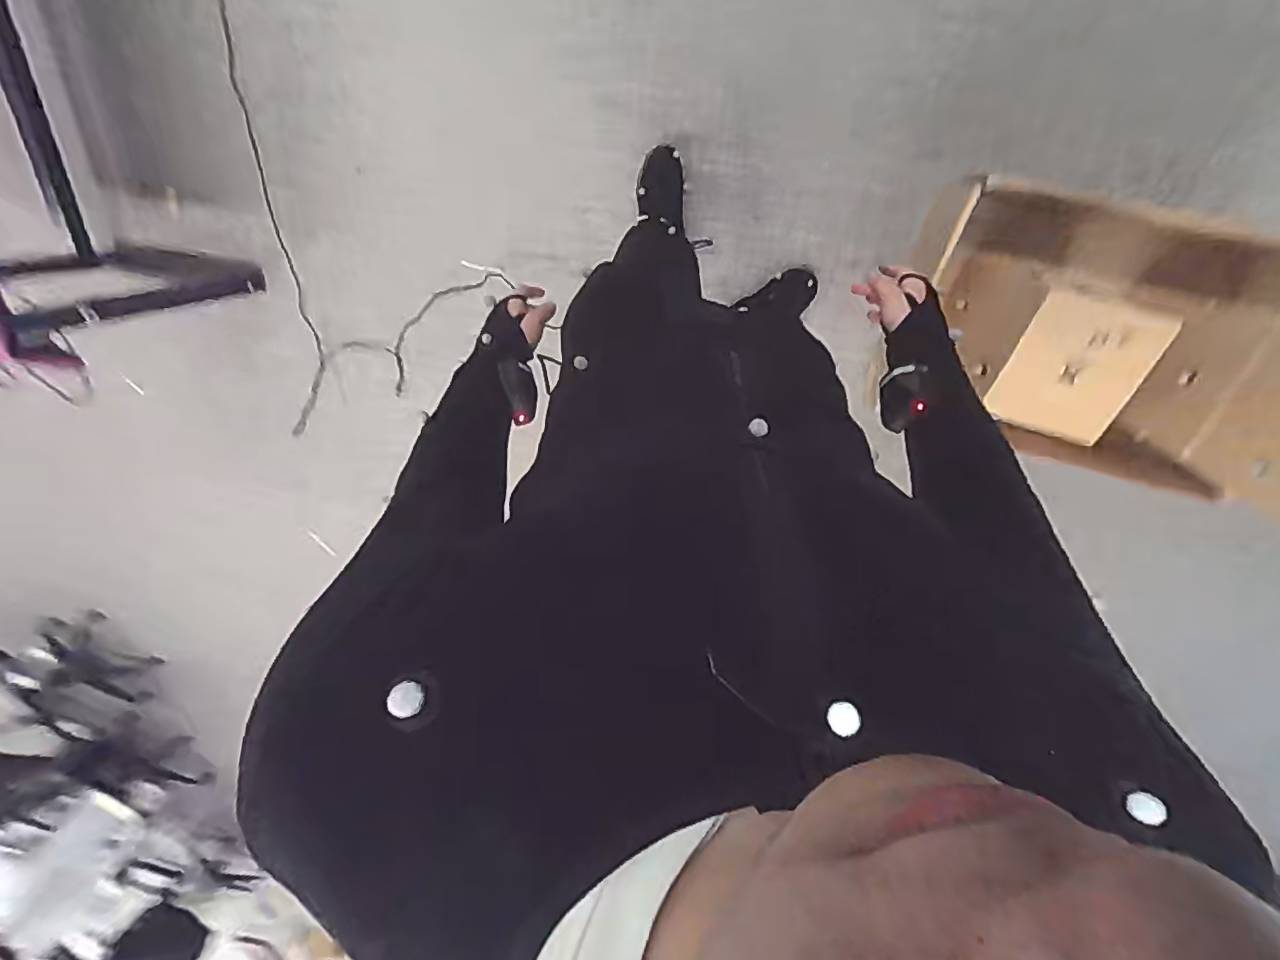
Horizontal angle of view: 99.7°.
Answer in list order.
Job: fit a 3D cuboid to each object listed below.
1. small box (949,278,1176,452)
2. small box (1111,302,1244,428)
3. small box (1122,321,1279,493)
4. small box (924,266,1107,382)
[{"bbox_3d":[0.579,-0.172,0.779,0.168,0.176,0.179,18,120,2],"label":"small box"},{"bbox_3d":[0.877,-0.180,0.901,0.168,0.176,0.179,16,120,5],"label":"small box"},{"bbox_3d":[0.840,-0.107,0.759,0.168,0.176,0.179,15,119,5],"label":"small box"},{"bbox_3d":[0.616,-0.250,0.920,0.168,0.176,0.179,17,120,3],"label":"small box"}]
